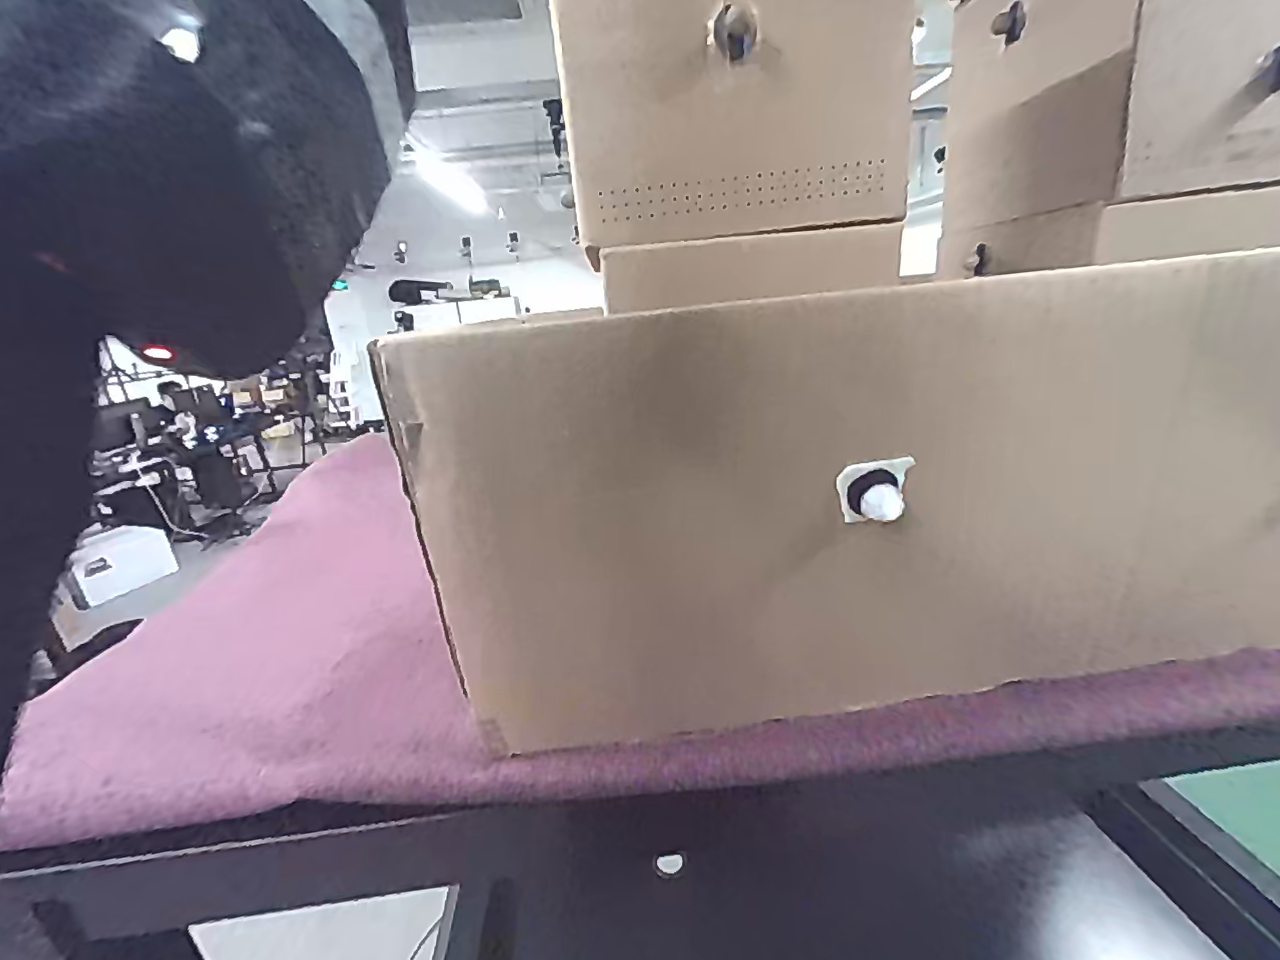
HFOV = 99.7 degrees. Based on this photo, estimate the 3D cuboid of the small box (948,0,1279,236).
[{"bbox_3d":[0.332,-0.267,0.360,0.168,0.176,0.179,-7,18,1],"label":"small box"}]
